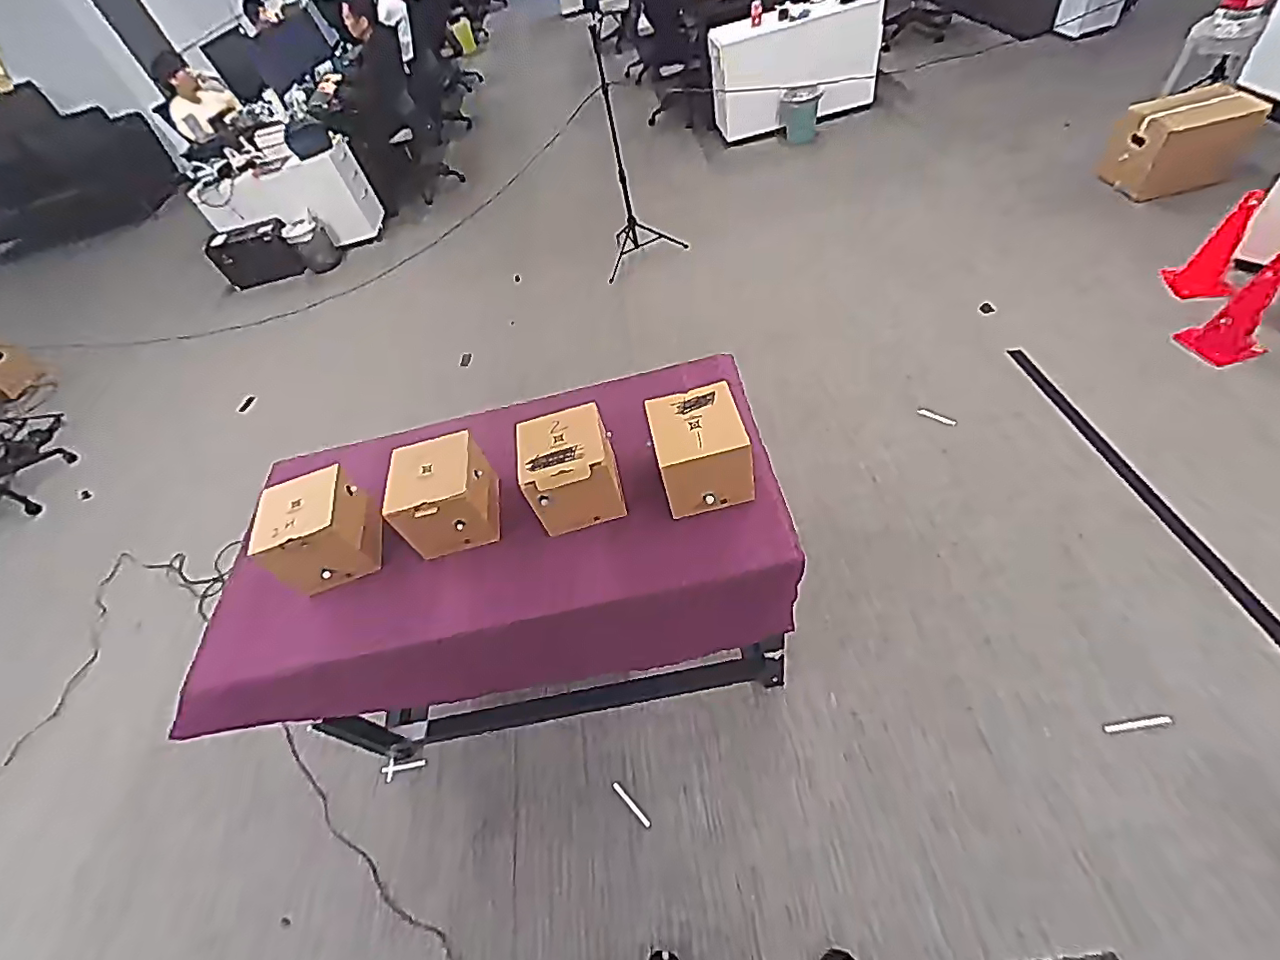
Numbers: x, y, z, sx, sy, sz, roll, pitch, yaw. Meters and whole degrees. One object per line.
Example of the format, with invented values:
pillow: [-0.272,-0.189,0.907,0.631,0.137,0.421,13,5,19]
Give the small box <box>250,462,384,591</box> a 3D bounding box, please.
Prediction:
small box: [-0.654,0.099,1.120,0.168,0.176,0.179,-20,50,-1]

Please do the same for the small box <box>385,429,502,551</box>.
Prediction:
small box: [-0.393,0.029,1.113,0.168,0.176,0.179,-14,50,2]

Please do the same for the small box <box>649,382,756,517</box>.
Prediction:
small box: [0.121,-0.057,1.046,0.168,0.176,0.179,-14,51,4]
